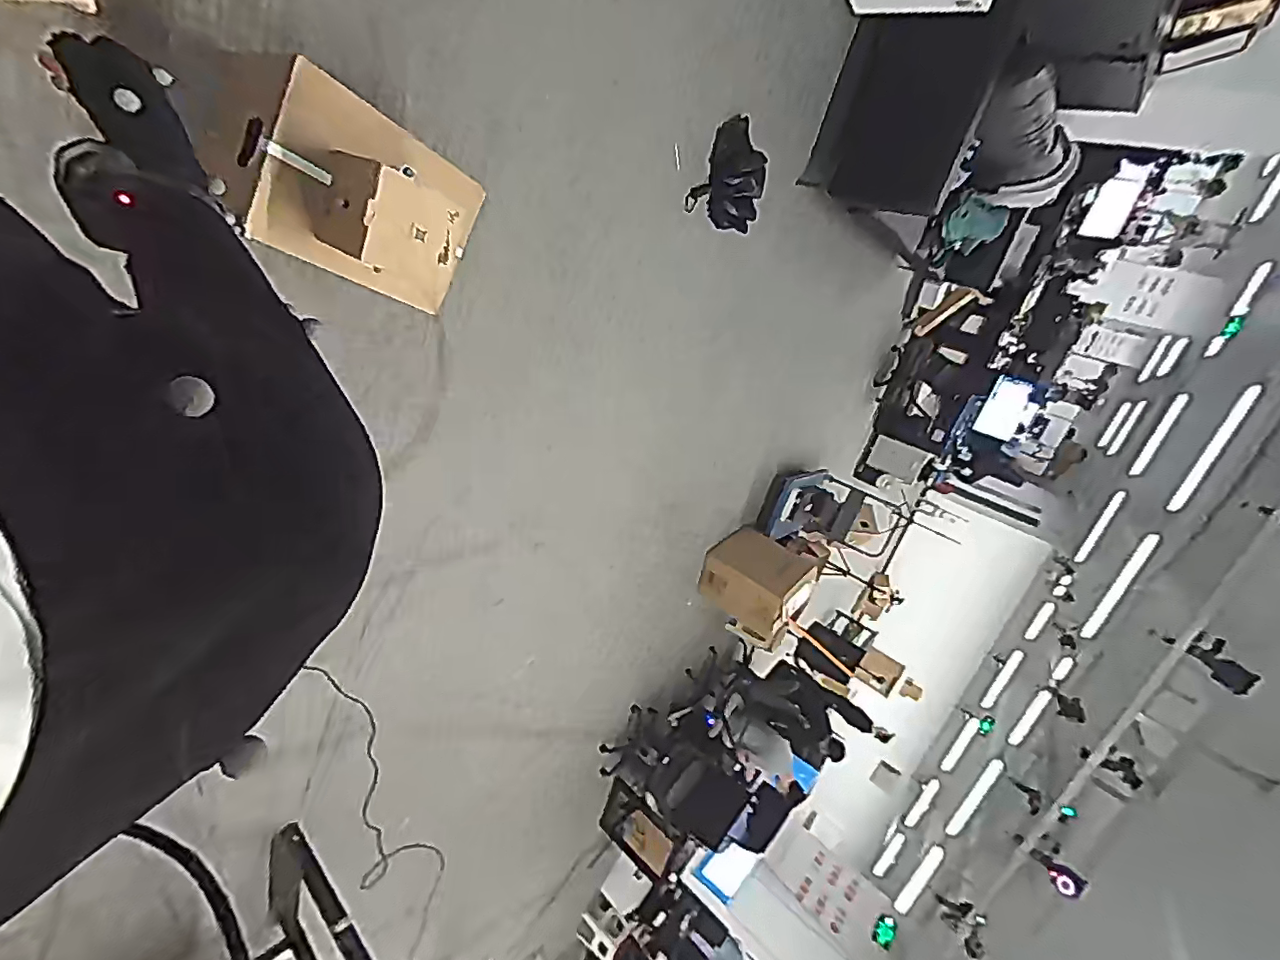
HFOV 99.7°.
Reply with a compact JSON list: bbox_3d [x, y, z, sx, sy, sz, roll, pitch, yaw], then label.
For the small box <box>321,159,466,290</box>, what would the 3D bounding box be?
[{"bbox_3d":[-0.470,-0.482,1.022,0.179,0.176,0.168,1,114,-55],"label":"small box"}]
